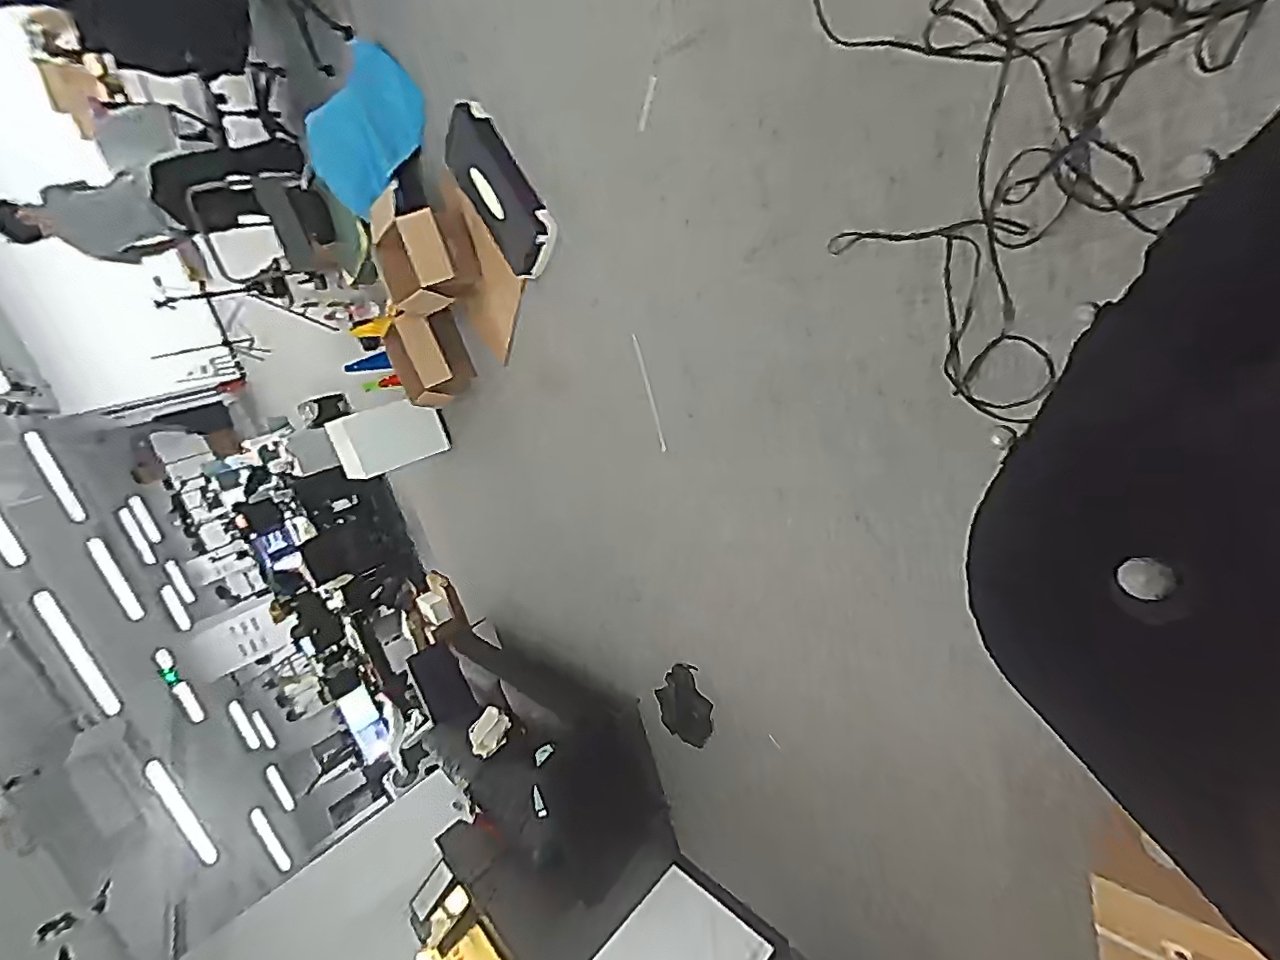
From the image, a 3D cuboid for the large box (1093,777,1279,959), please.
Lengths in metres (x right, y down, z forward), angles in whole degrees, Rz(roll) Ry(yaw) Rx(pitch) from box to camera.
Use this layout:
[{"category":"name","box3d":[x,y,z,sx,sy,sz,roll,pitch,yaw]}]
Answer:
[{"category":"large box","box3d":[1.249,0.918,1.123,0.408,0.320,0.320,1,112,52]}]
